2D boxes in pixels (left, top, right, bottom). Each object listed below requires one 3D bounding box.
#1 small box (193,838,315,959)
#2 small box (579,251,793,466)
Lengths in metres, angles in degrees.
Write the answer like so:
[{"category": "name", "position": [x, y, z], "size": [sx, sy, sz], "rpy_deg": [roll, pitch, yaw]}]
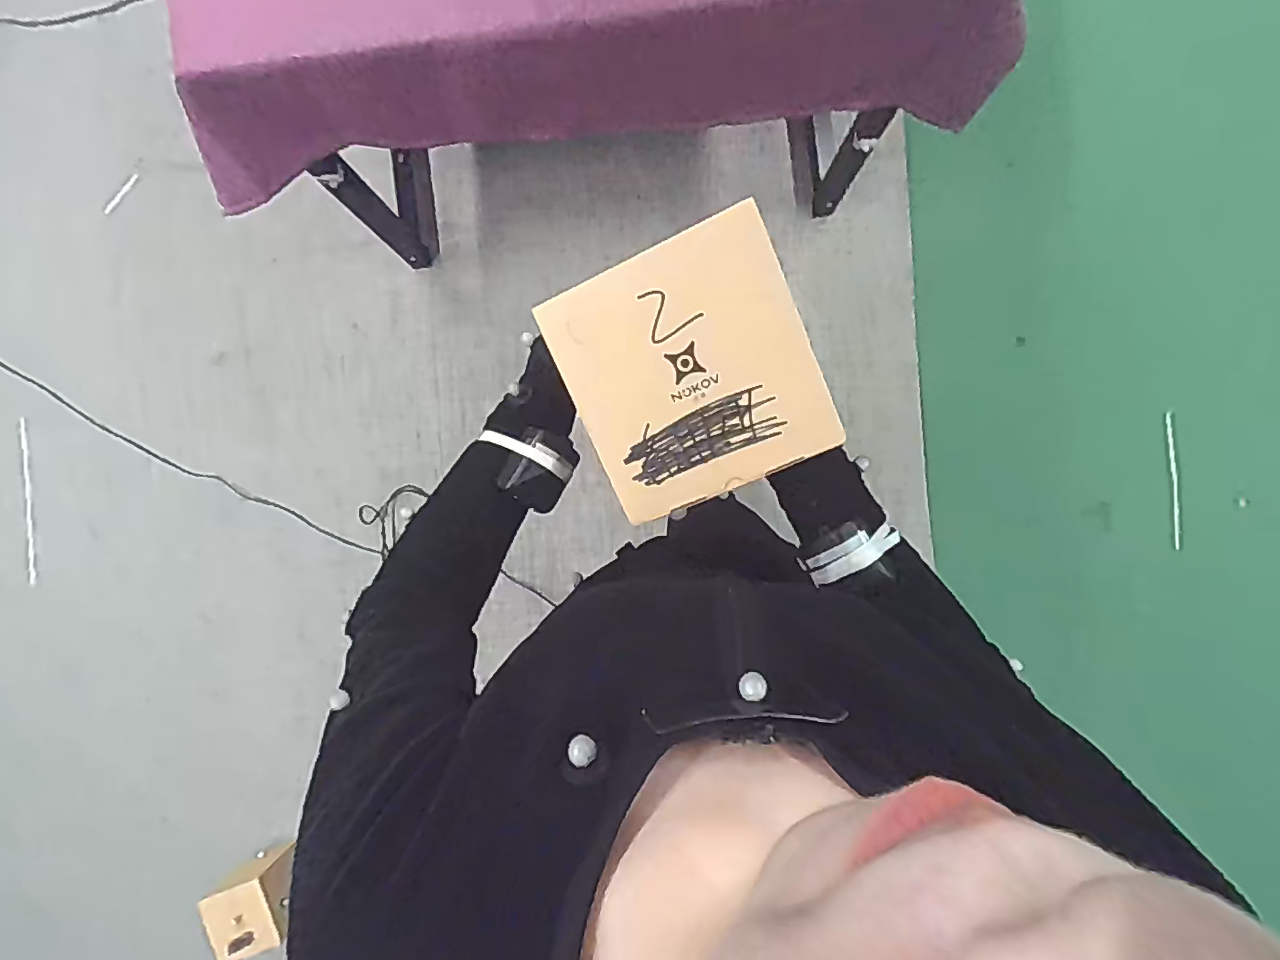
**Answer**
[{"category": "small box", "position": [-0.988, 1.086, 1.402], "size": [0.168, 0.176, 0.179], "rpy_deg": [-22, 88, 0]}, {"category": "small box", "position": [0.056, -0.131, 0.615], "size": [0.179, 0.176, 0.168], "rpy_deg": [-20, 100, 11]}]
